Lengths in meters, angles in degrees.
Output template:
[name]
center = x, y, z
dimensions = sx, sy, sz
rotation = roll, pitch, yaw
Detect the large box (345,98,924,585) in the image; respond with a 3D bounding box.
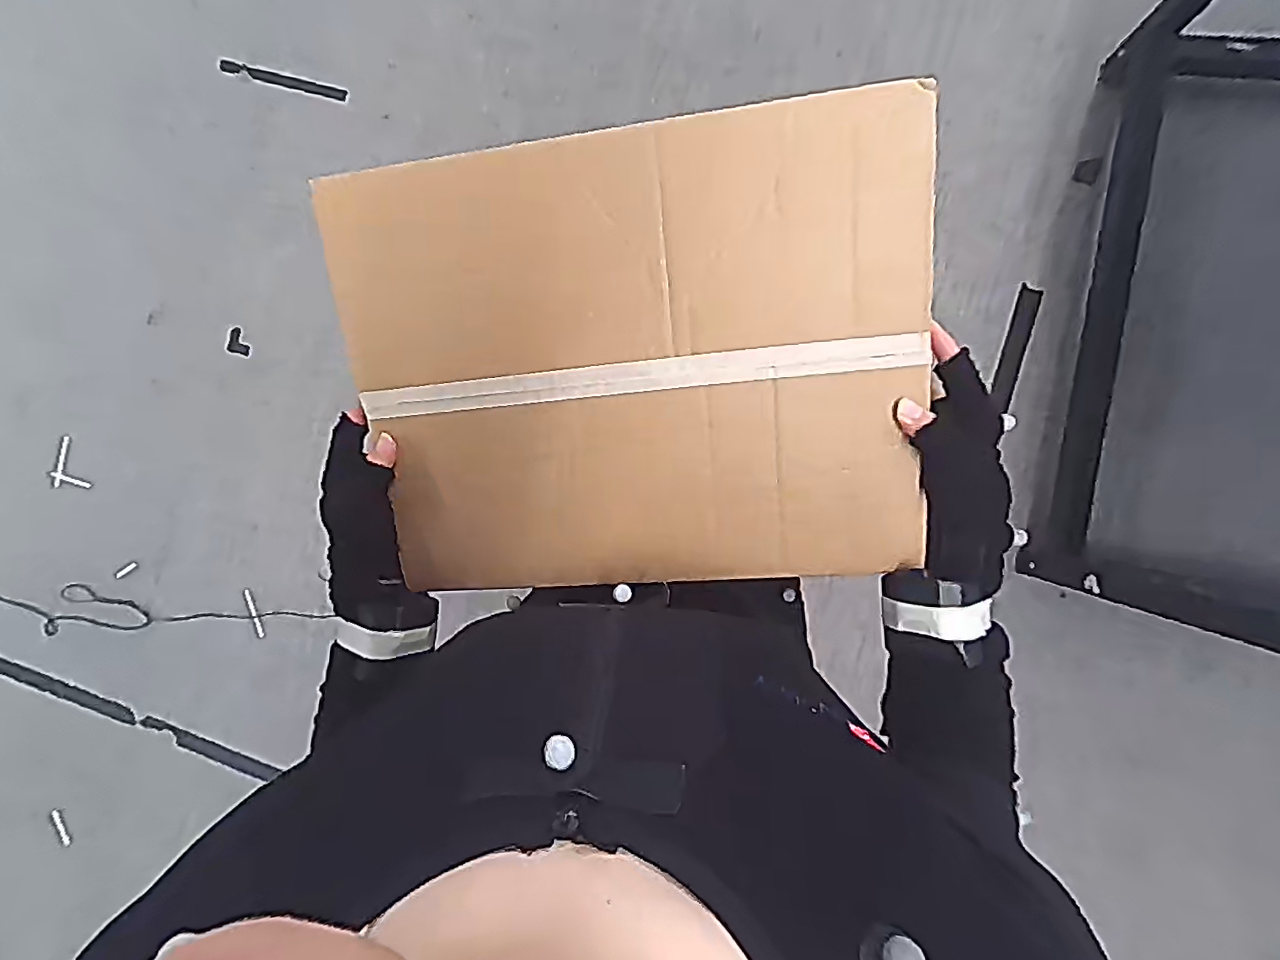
[large box]
center = 0.013, -0.111, 0.540
dimensions = 0.408, 0.320, 0.320
rotation = -4, 106, 8
